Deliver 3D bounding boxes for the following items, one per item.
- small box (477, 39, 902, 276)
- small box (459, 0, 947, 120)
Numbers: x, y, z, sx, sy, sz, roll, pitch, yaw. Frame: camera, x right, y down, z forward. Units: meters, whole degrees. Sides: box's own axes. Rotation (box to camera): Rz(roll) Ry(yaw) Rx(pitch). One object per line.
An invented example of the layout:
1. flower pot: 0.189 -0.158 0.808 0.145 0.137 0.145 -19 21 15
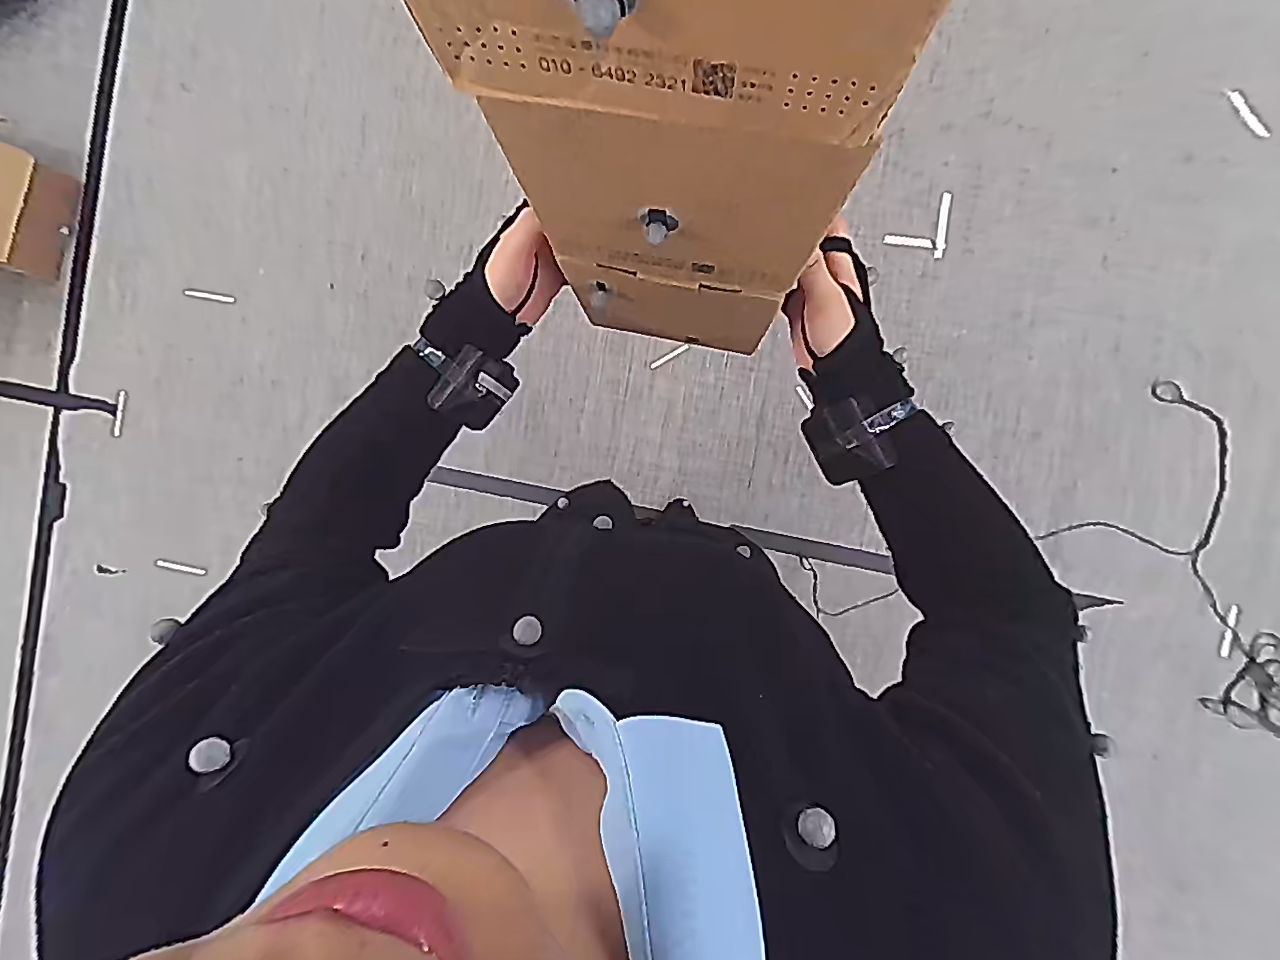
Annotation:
1. small box: 0.035 -0.229 0.284 0.168 0.176 0.179 10 90 3
2. small box: 0.021 -0.230 0.122 0.168 0.176 0.179 10 91 4
